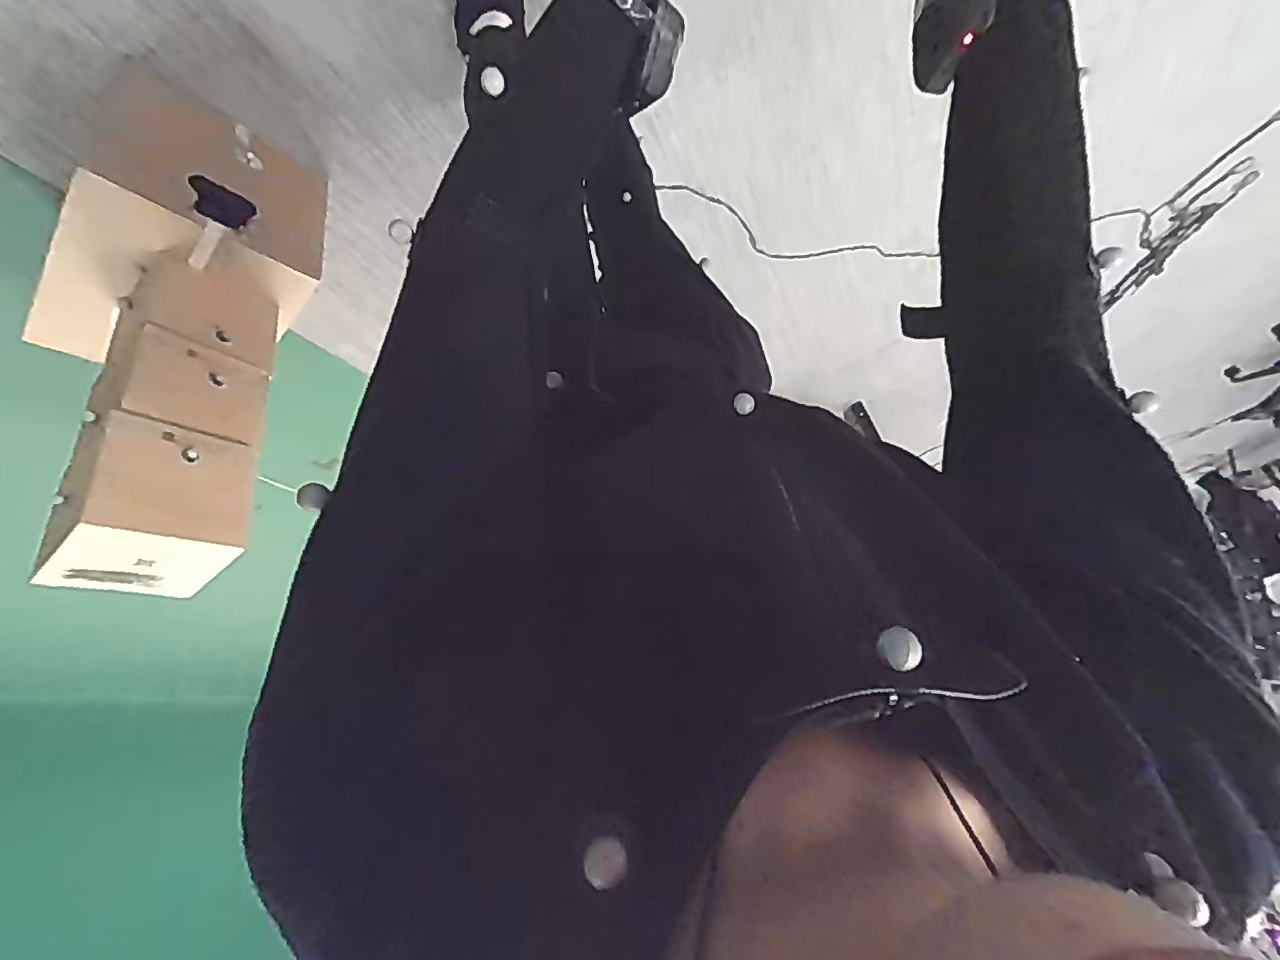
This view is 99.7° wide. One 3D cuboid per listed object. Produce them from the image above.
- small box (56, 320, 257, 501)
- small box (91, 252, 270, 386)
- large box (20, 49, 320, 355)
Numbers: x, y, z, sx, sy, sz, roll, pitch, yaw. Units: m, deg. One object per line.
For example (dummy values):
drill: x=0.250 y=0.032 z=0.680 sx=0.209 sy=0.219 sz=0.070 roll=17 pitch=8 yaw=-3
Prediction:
small box: x=-0.701 y=-0.097 z=0.802 sx=0.179 sy=0.176 sz=0.168 roll=-29 pitch=149 yaw=22
small box: x=-0.739 y=-0.231 z=0.885 sx=0.168 sy=0.176 sz=0.179 roll=-30 pitch=149 yaw=24
large box: x=-0.836 y=-0.435 z=0.990 sx=0.408 sy=0.320 sz=0.320 roll=-31 pitch=147 yaw=29
